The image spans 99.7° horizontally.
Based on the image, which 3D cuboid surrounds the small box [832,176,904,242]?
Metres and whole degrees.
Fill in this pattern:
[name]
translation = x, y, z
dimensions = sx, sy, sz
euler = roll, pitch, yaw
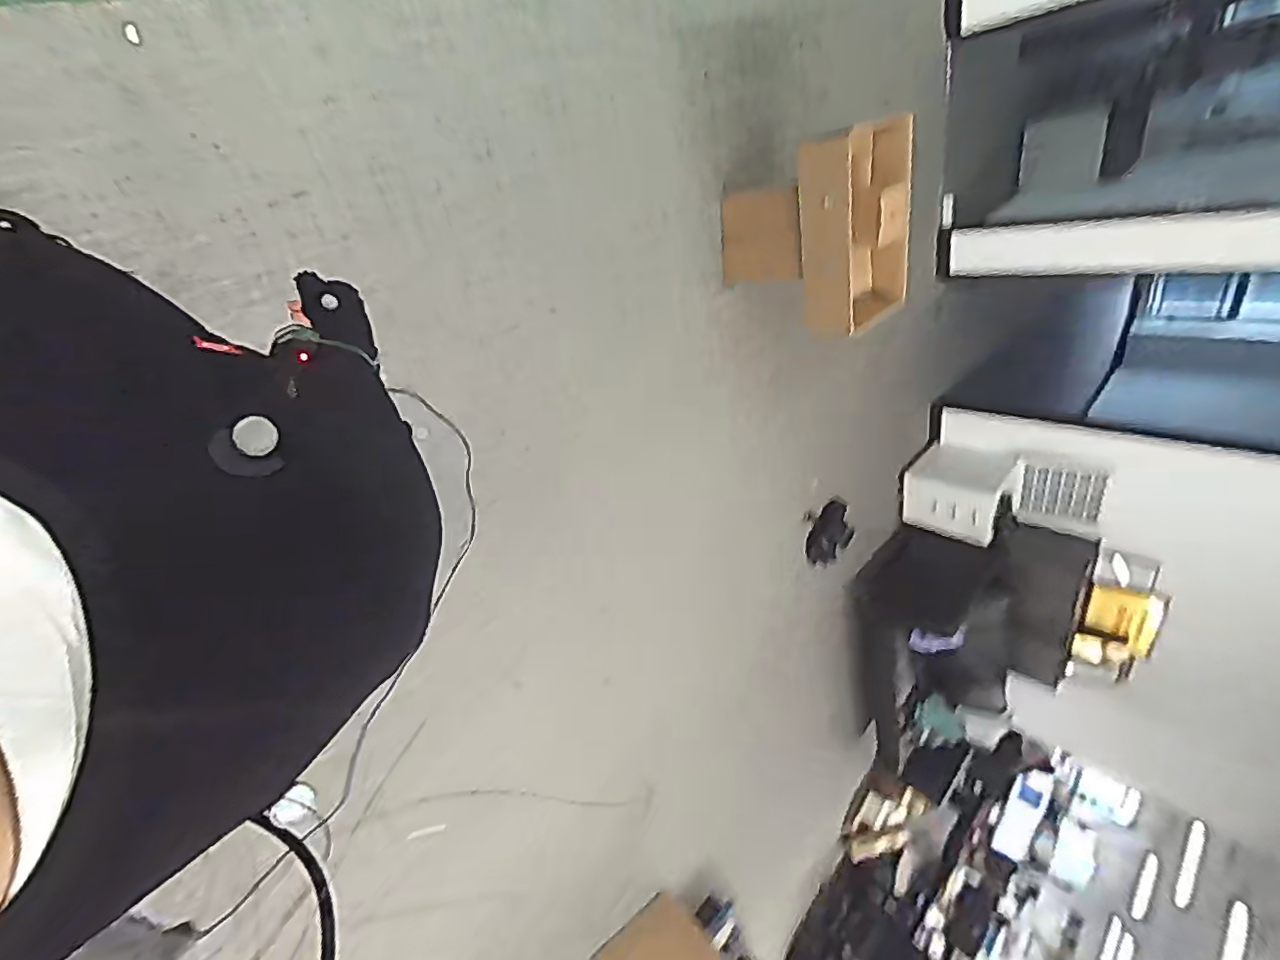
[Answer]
[small box]
translation = 0.764, -0.910, 1.823
dimensions = 0.179, 0.176, 0.168
euler = -36, 130, -32
